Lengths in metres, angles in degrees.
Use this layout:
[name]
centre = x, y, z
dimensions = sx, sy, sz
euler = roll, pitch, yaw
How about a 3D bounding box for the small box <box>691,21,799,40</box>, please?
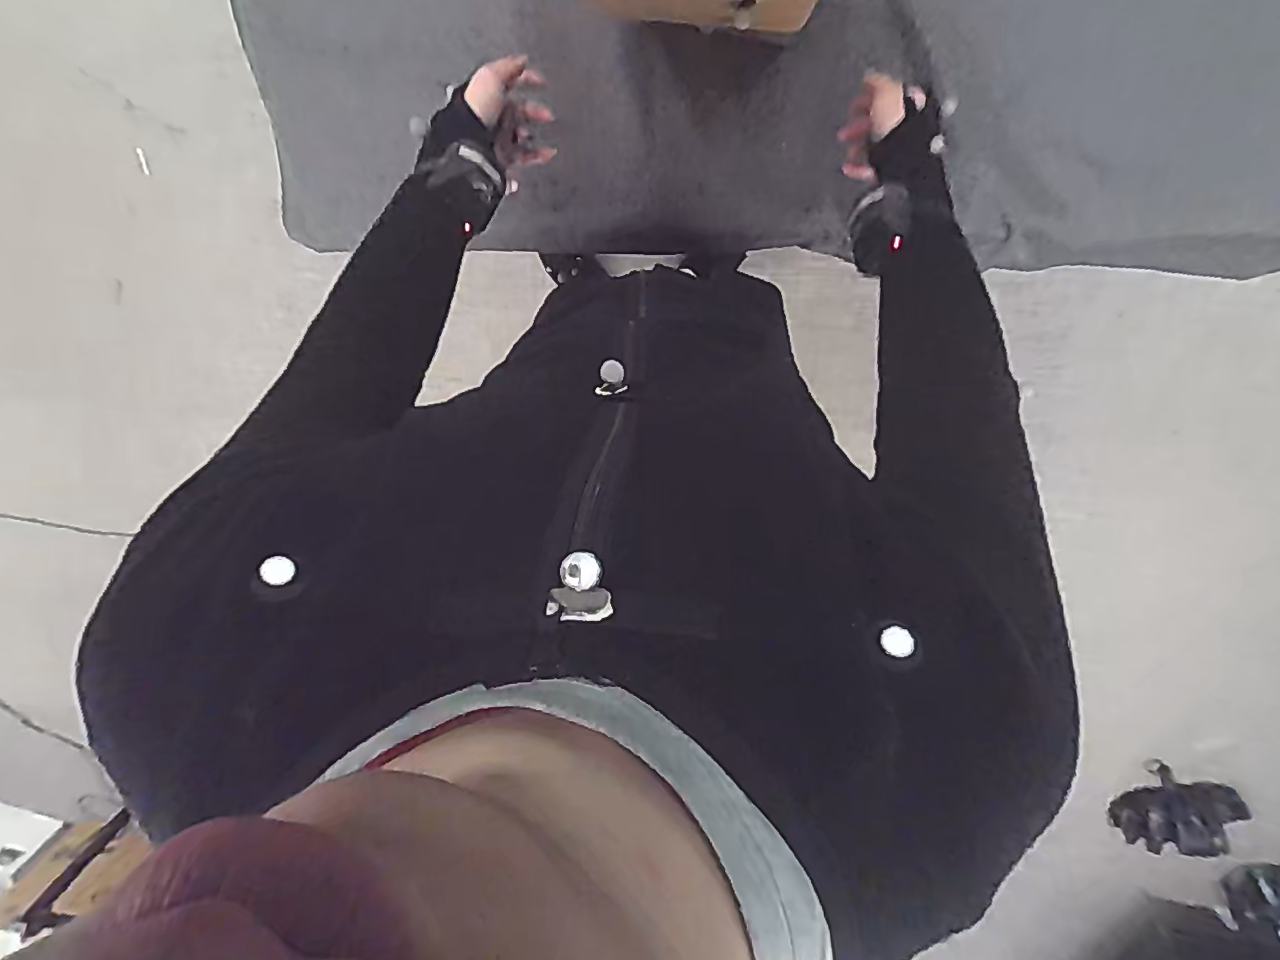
[small box]
centre = 0.084, -0.506, 0.460
dimensions = 0.168, 0.176, 0.179
euler = 13, 122, 2
